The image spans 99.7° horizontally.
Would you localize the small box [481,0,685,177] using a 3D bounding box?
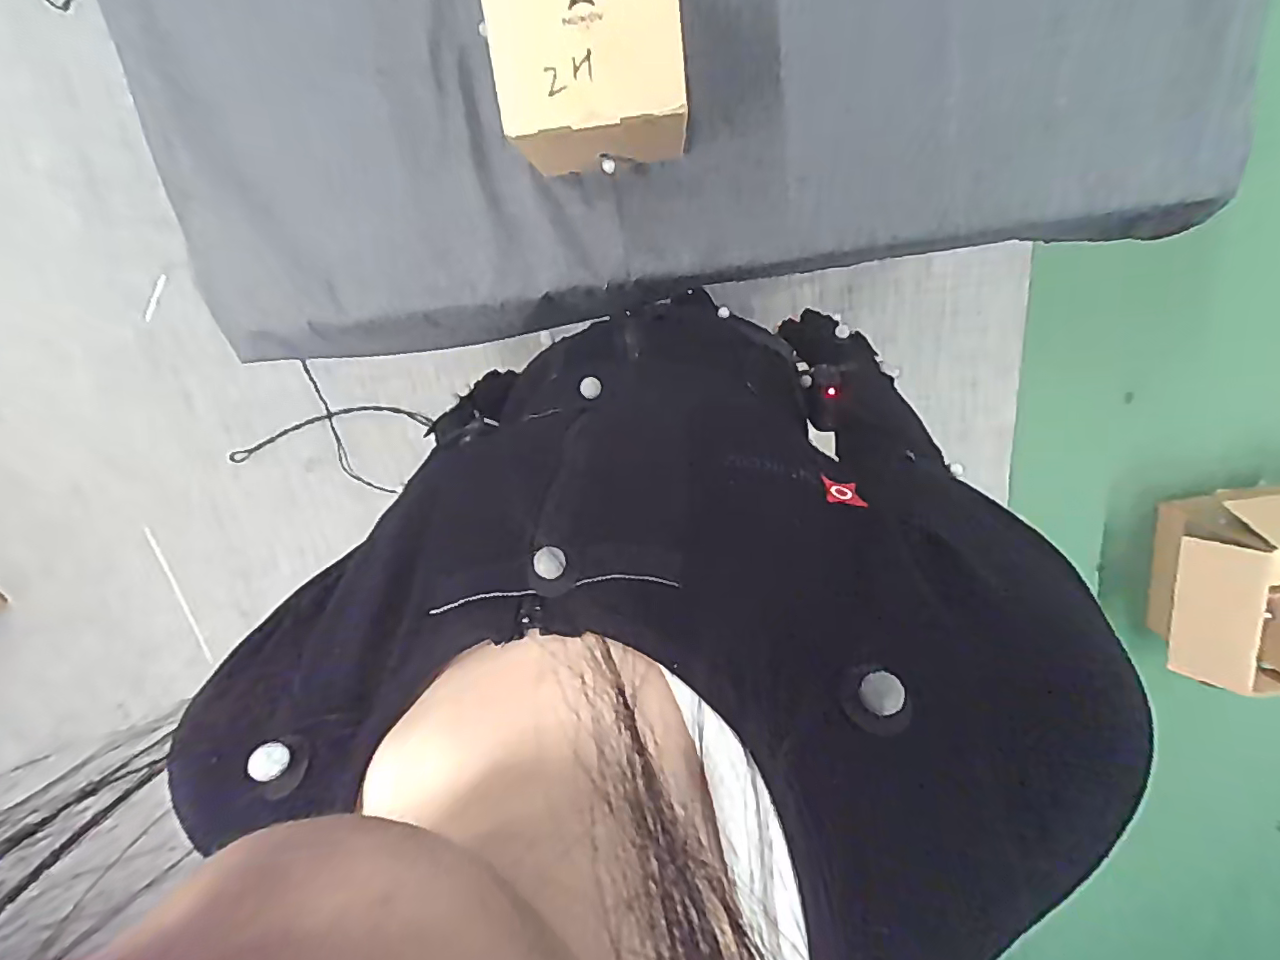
[{"bbox_3d":[-0.048,-0.418,0.526,0.168,0.176,0.179,-5,109,5],"label":"small box"}]
